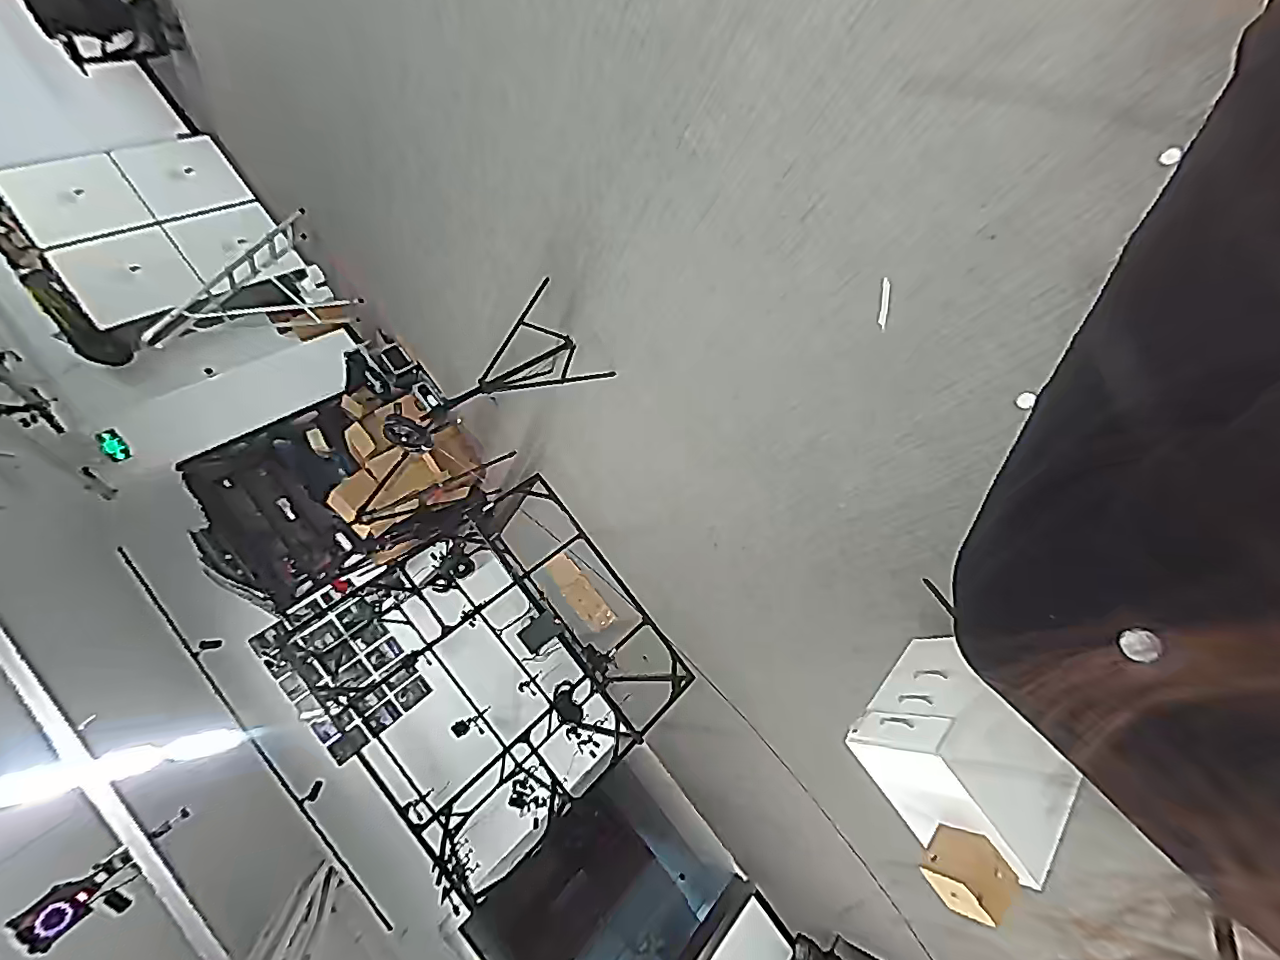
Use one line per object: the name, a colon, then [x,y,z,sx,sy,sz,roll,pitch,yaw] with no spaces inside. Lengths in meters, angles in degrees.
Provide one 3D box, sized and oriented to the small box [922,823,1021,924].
small box: [1.041,1.220,1.696,0.168,0.176,0.179,53,152,2]
